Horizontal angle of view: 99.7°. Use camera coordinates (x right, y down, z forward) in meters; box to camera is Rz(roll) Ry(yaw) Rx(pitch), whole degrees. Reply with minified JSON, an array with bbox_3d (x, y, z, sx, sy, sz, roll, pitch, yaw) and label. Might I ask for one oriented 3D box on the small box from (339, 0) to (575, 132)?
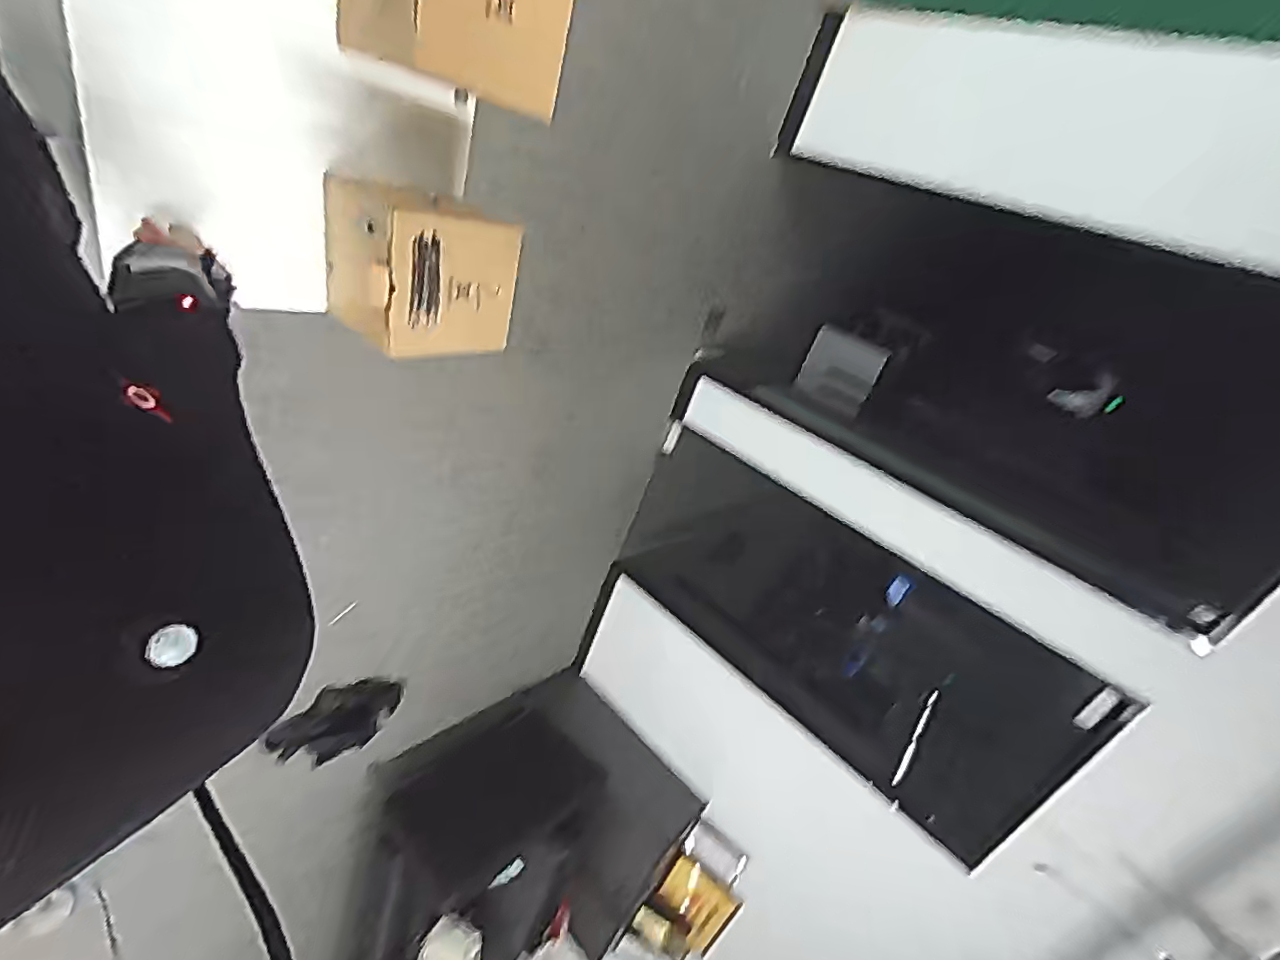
[{"bbox_3d":[-0.197,-0.513,0.589,0.179,0.176,0.168,-15,133,-47],"label":"small box"}]
